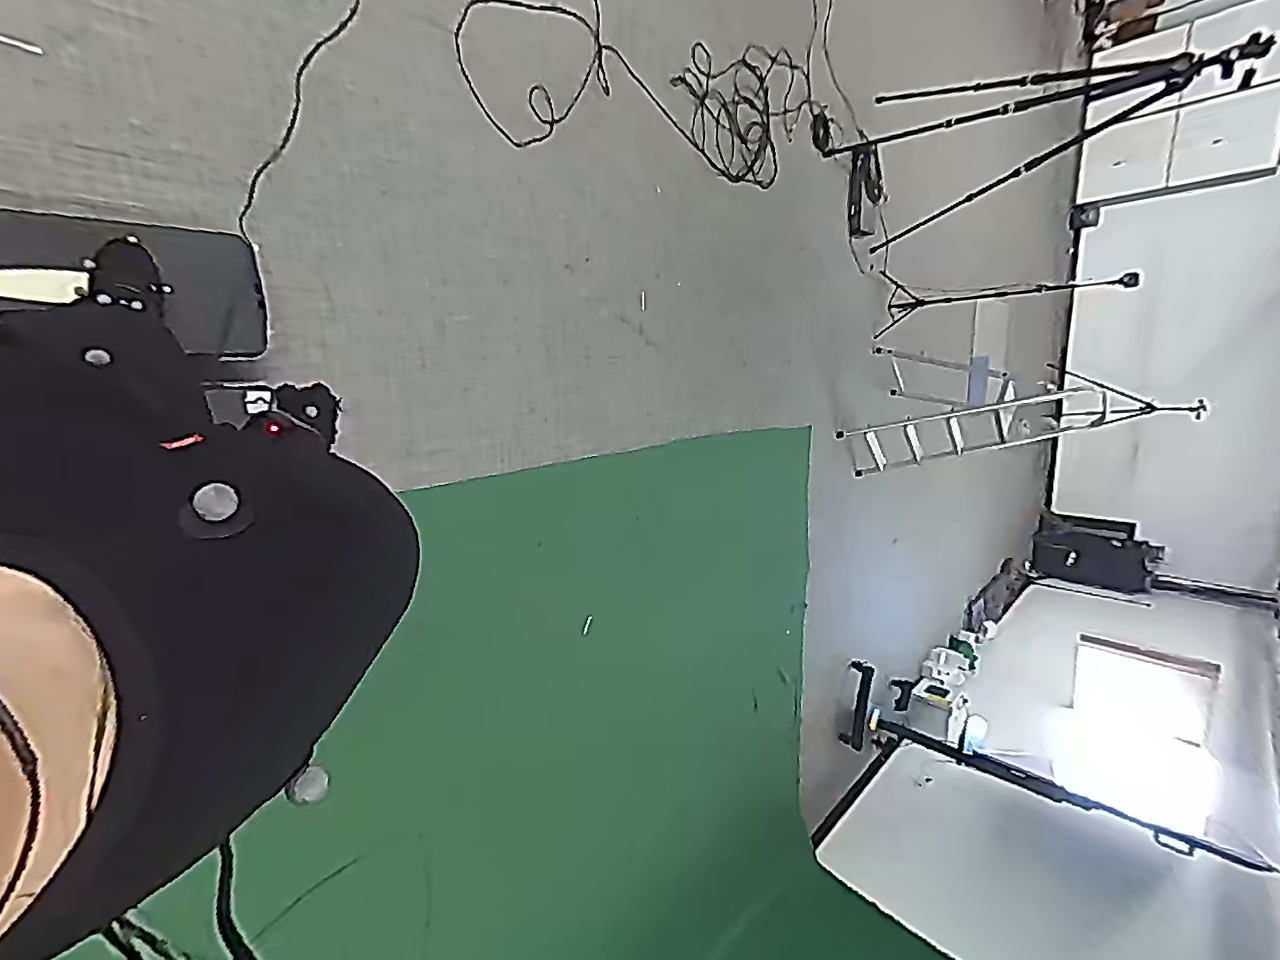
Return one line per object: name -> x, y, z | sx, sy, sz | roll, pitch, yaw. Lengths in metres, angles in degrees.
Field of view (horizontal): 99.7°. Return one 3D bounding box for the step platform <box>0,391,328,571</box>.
step platform -> -0.971, 0.000, 0.970 | 0.684, 0.204, 0.286 | -13, 105, -43
